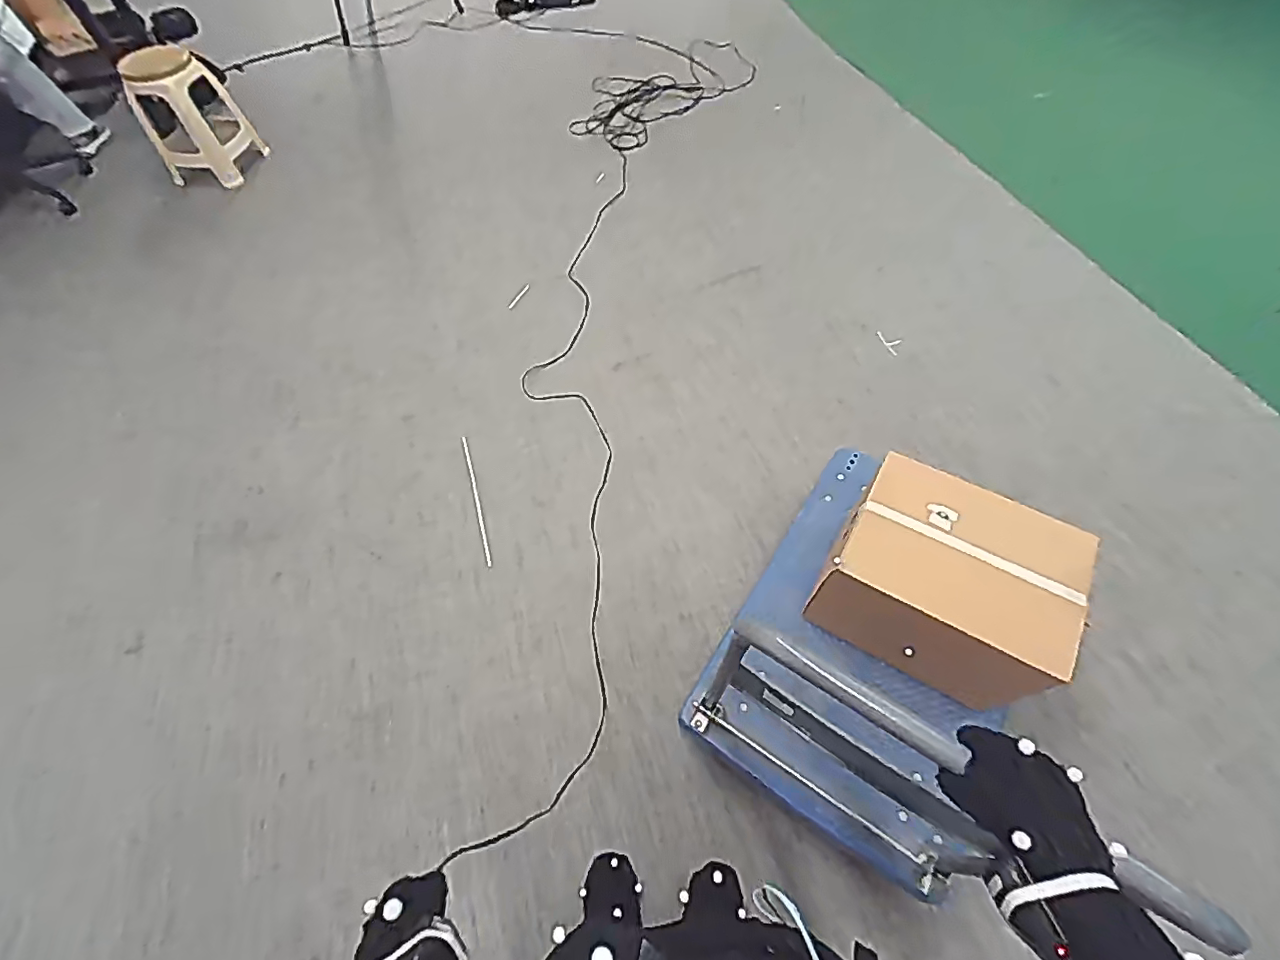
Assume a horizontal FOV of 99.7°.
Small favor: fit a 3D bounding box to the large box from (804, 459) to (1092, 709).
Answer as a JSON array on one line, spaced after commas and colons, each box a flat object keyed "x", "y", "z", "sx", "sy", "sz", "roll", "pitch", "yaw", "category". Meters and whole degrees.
[{"x": 0.616, "y": 0.223, "z": 1.137, "sx": 0.408, "sy": 0.320, "sz": 0.320, "roll": 26, "pitch": 63, "yaw": 18, "category": "large box"}]
